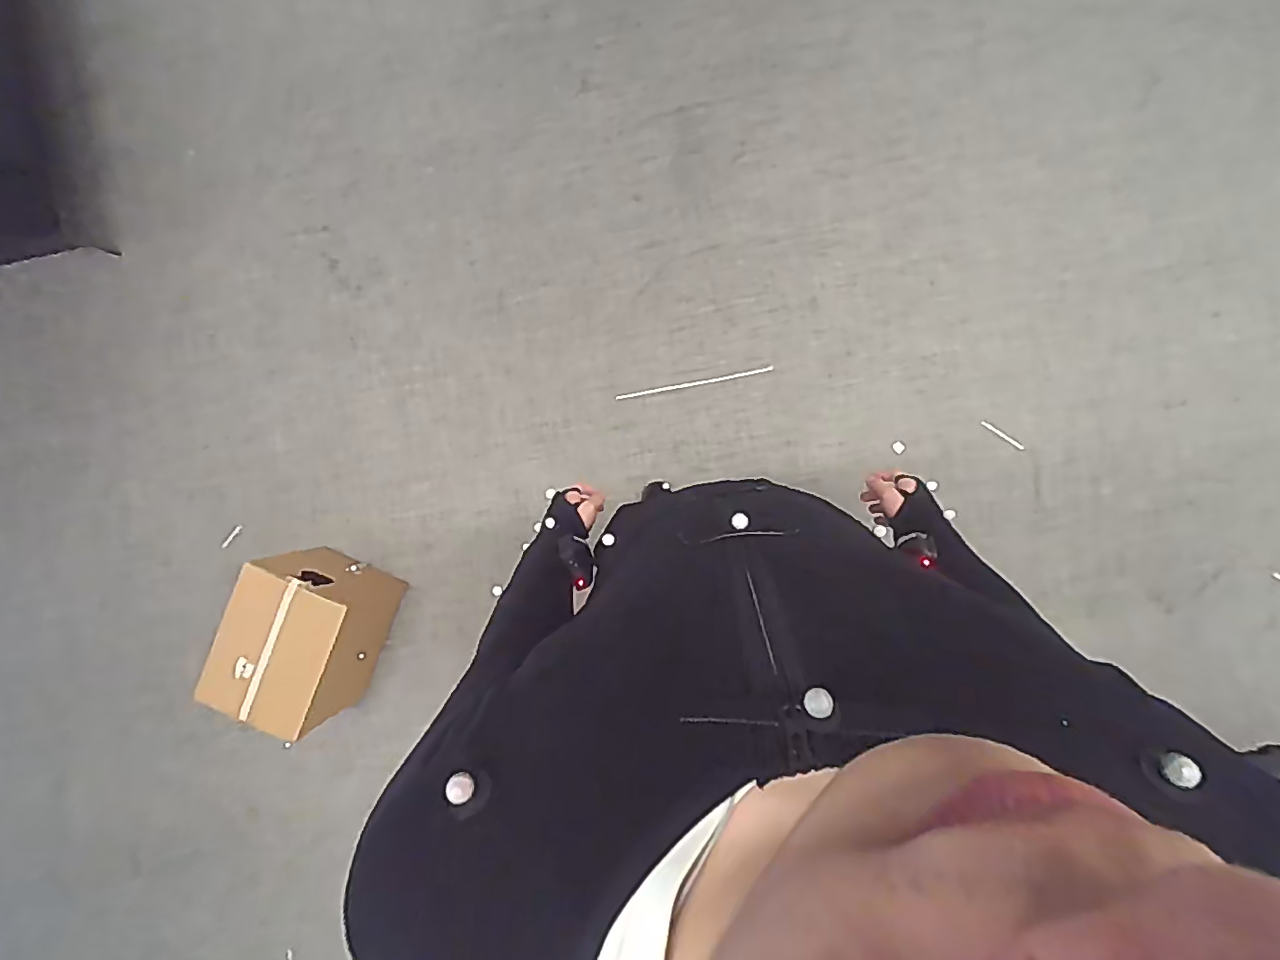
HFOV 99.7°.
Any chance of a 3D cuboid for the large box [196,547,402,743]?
[{"bbox_3d":[-0.962,0.451,1.568,0.320,0.320,0.408,22,93,4],"label":"large box"}]
